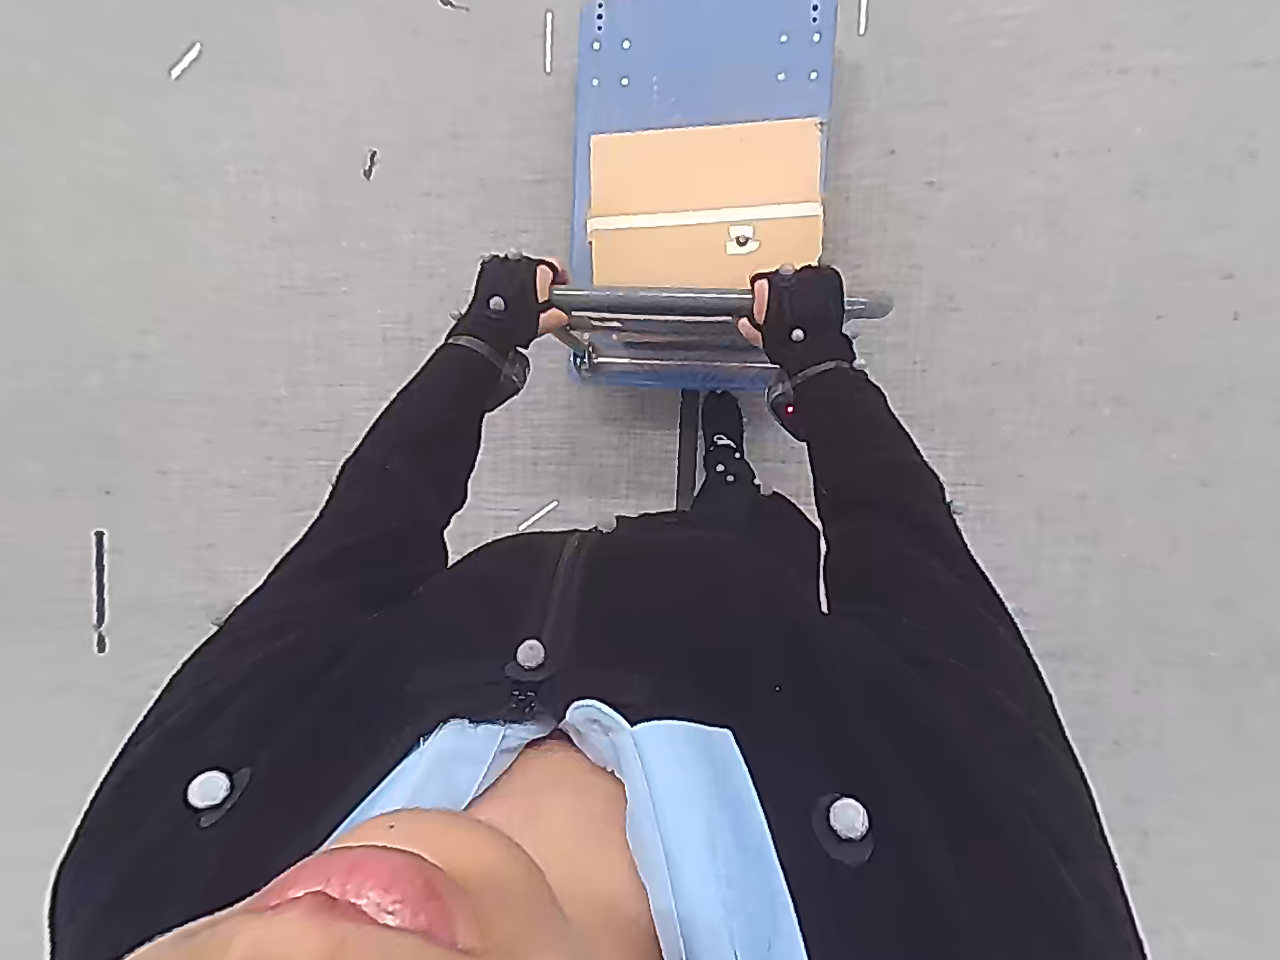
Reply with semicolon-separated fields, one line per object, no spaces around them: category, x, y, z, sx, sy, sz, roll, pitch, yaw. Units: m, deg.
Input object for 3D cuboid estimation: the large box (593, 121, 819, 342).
large box;0.129;-0.478;1.118;0.408;0.320;0.320;-1;94;5
